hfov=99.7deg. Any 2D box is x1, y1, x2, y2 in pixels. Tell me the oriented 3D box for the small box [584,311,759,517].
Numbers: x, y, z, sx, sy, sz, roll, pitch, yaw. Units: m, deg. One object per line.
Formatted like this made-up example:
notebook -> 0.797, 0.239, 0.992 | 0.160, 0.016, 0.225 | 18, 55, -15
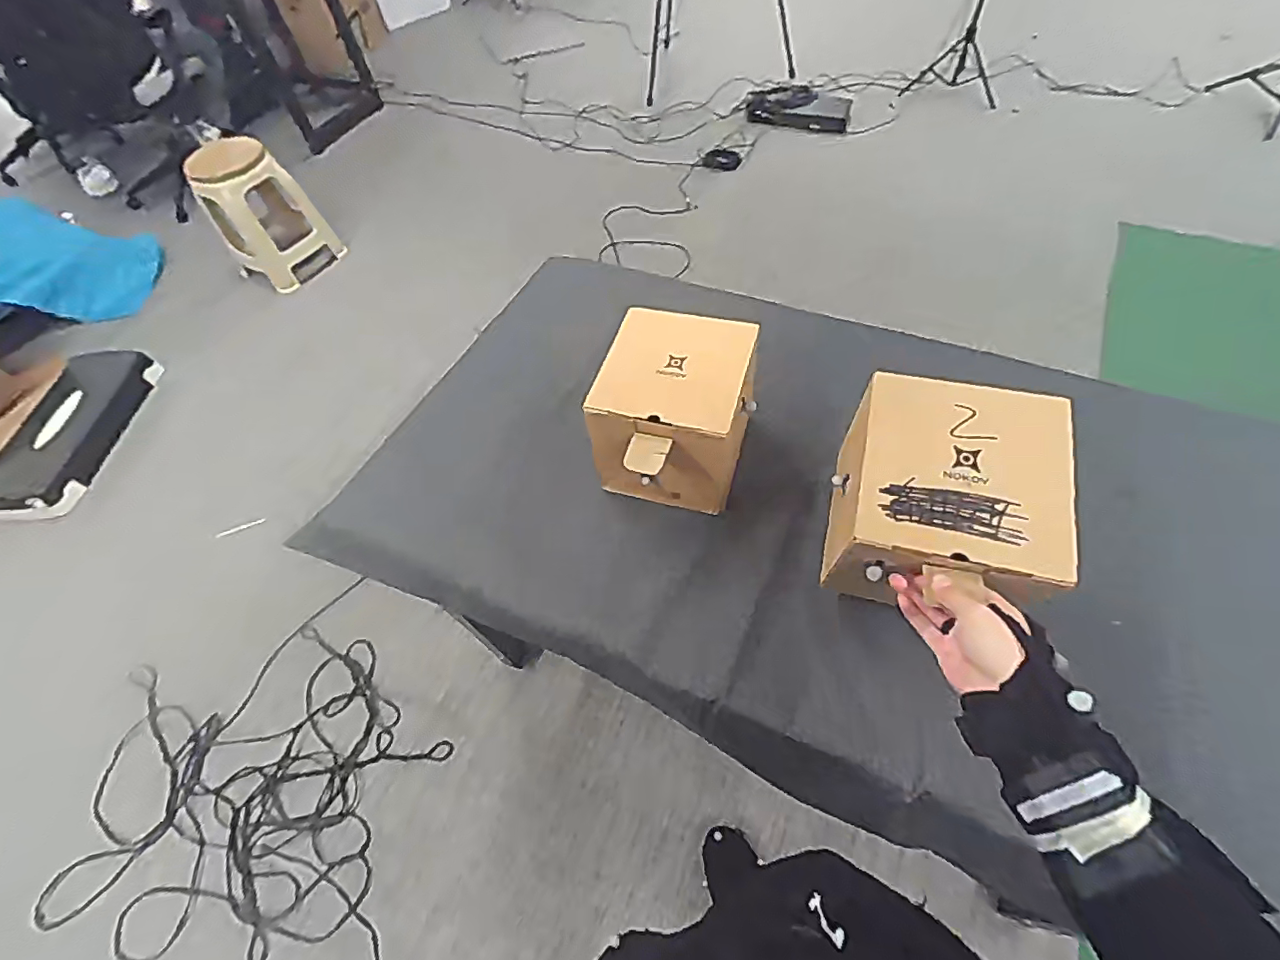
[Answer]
small box -> 0.044, -0.081, 0.683 | 0.168, 0.176, 0.179 | 12, 59, 13
